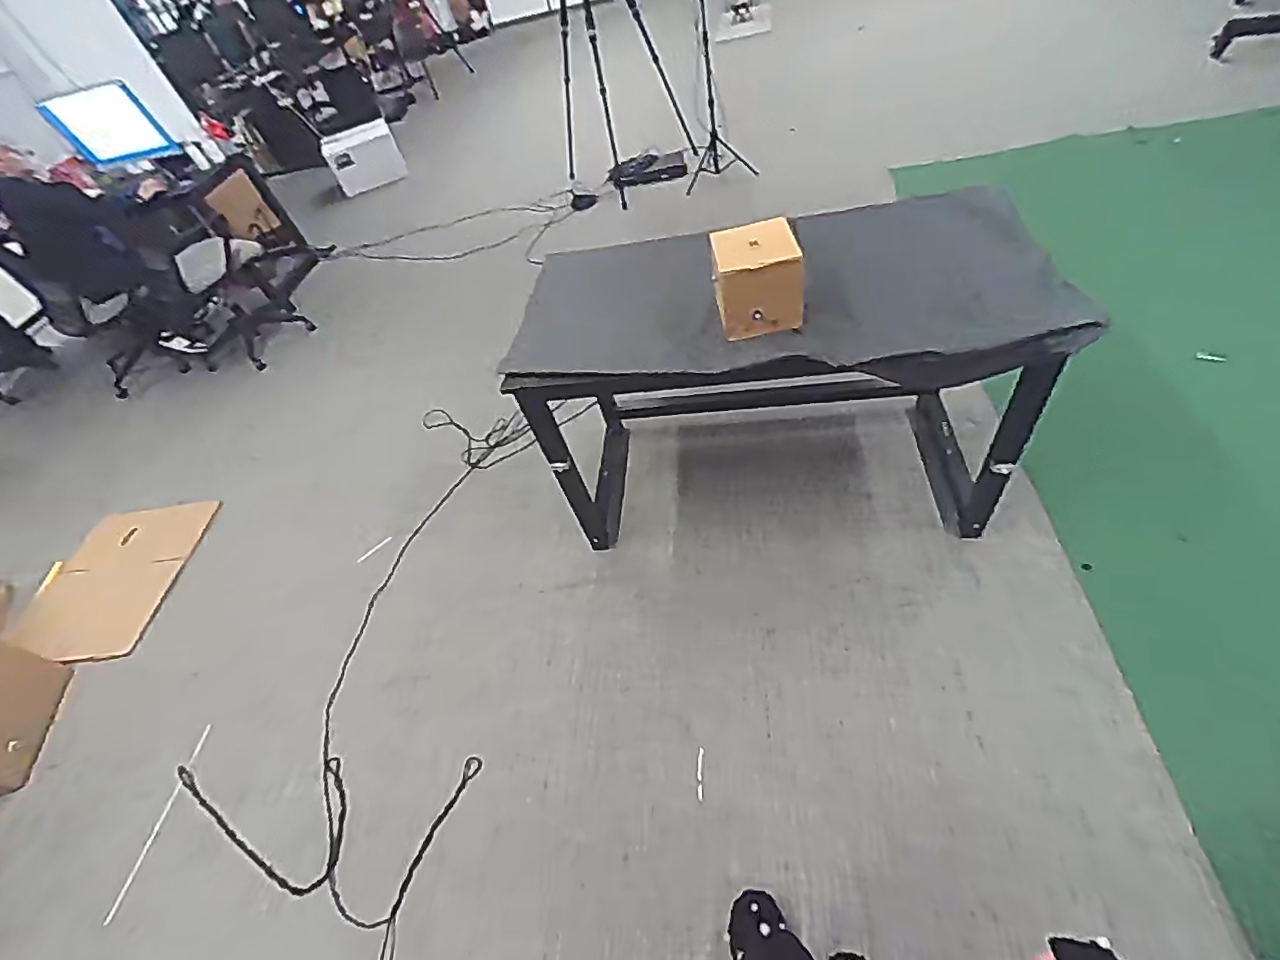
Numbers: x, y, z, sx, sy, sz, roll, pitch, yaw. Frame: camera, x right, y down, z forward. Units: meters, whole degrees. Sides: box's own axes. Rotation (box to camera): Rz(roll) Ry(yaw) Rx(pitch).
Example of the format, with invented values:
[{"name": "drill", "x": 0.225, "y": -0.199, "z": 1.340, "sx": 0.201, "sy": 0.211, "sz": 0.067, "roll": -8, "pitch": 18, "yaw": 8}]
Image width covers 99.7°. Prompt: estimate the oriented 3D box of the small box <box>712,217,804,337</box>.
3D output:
[{"name": "small box", "x": 0.253, "y": -0.440, "z": 1.183, "sx": 0.168, "sy": 0.176, "sz": 0.179, "roll": -10, "pitch": 50, "yaw": 7}]
